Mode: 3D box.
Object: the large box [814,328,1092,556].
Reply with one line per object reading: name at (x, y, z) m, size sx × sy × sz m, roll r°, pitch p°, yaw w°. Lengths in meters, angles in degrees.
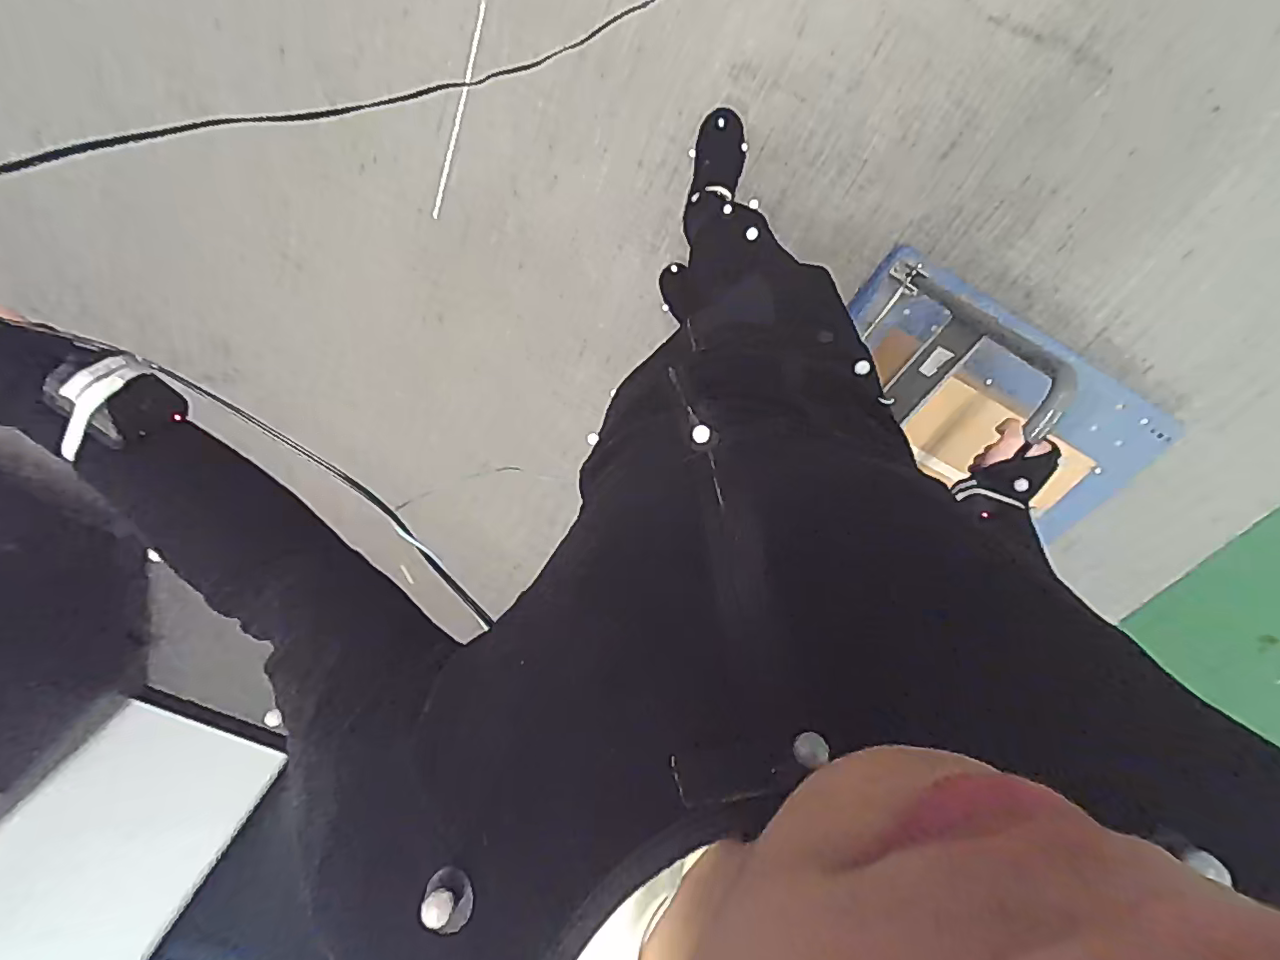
large box at (0.679, -0.097, 1.254) m, size 0.408 × 0.320 × 0.320 m, roll 27°, pitch 121°, yaw -8°
